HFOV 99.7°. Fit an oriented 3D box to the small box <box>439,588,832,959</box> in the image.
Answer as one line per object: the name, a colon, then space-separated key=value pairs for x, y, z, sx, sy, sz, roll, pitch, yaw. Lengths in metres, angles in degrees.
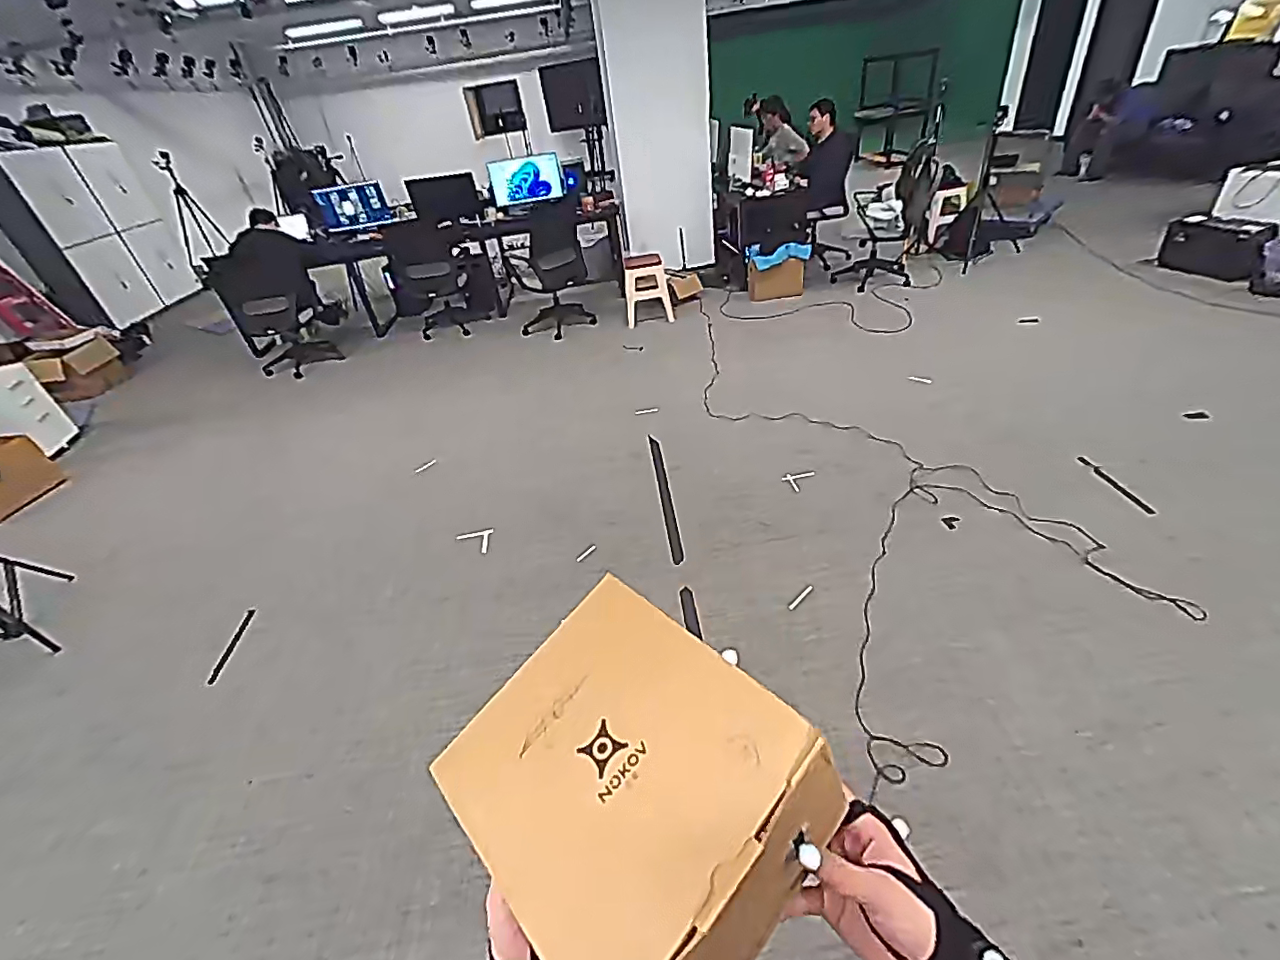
small box: x=0.010 y=0.212 z=0.367 sx=0.179 sy=0.176 sz=0.168 roll=26 pitch=64 yaw=41
